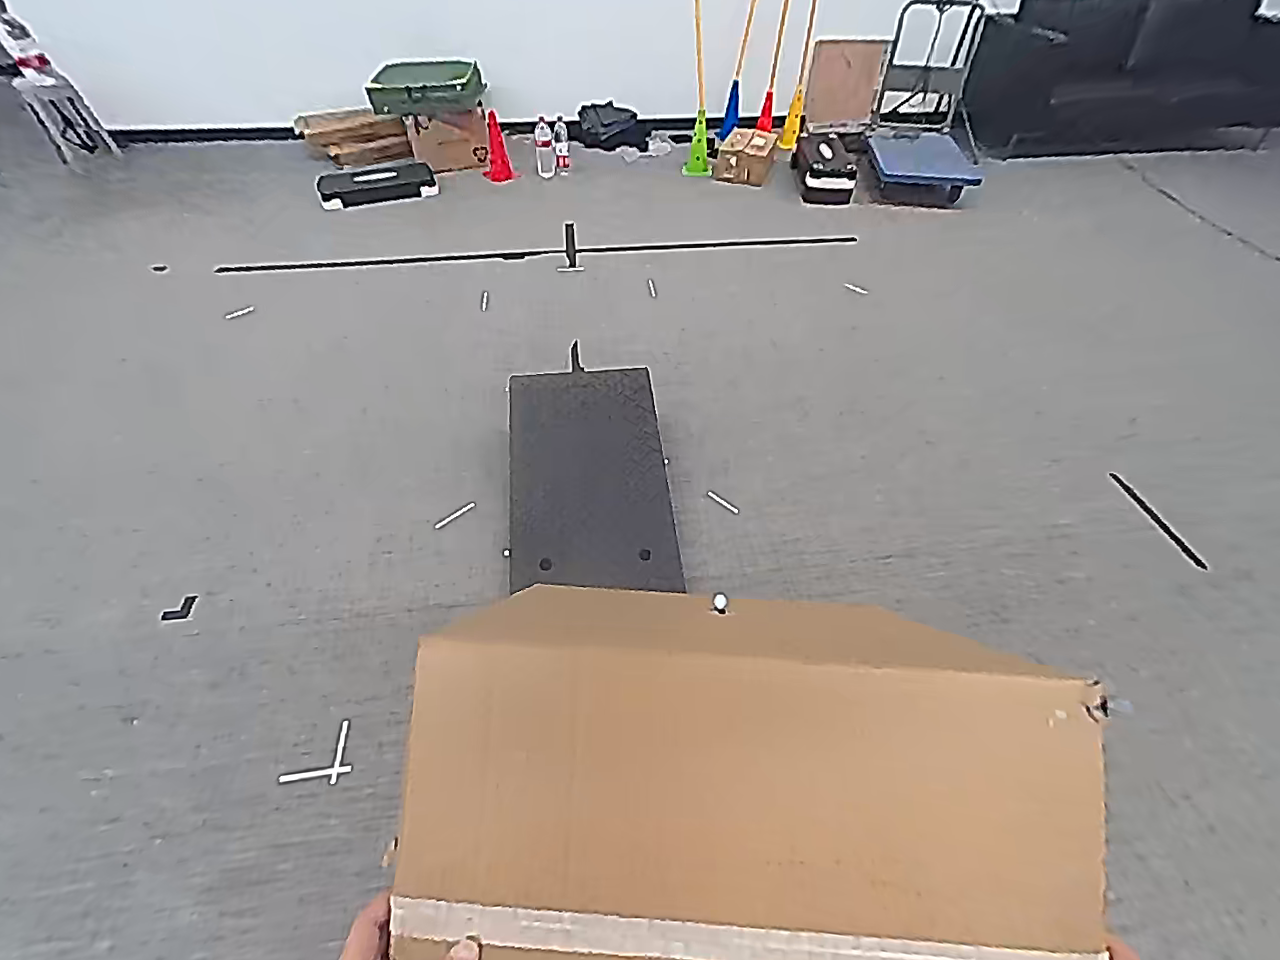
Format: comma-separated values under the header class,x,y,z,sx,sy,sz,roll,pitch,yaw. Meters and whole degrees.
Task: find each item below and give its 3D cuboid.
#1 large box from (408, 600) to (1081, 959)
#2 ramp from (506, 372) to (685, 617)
class,x,y,z,sx,sy,sz,roll,pitch,yaw
large box,0.061,0.281,0.471,0.408,0.320,0.320,3,86,1
ramp,-0.159,0.065,1.659,0.509,0.206,0.991,-5,50,-8
